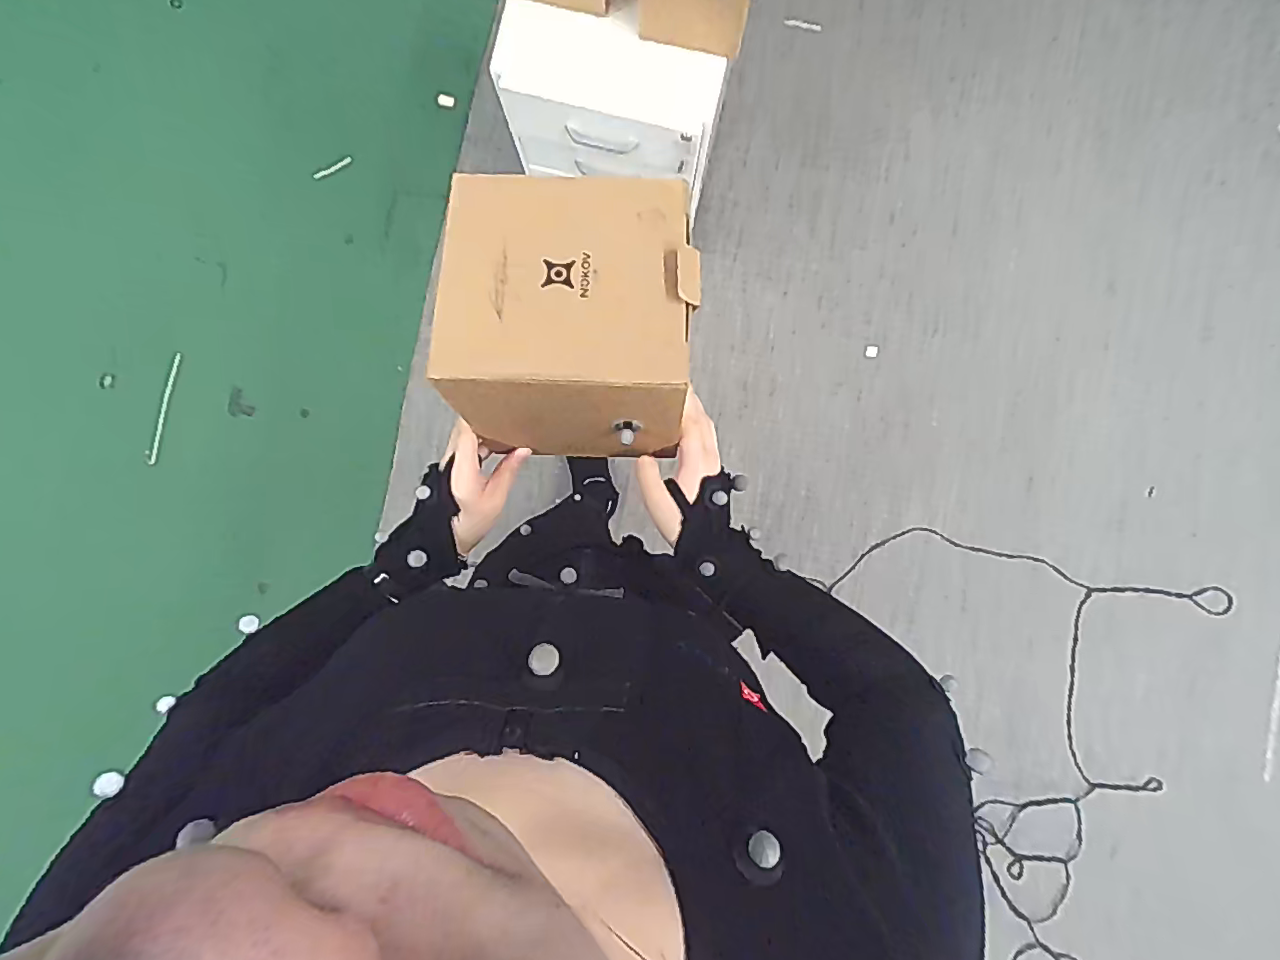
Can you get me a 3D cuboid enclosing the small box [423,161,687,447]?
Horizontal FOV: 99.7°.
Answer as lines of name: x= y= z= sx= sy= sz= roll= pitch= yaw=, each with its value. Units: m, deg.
small box: x=-0.054 y=-0.131 z=0.452 sx=0.179 sy=0.176 sz=0.168 roll=1 pitch=75 yaw=2
